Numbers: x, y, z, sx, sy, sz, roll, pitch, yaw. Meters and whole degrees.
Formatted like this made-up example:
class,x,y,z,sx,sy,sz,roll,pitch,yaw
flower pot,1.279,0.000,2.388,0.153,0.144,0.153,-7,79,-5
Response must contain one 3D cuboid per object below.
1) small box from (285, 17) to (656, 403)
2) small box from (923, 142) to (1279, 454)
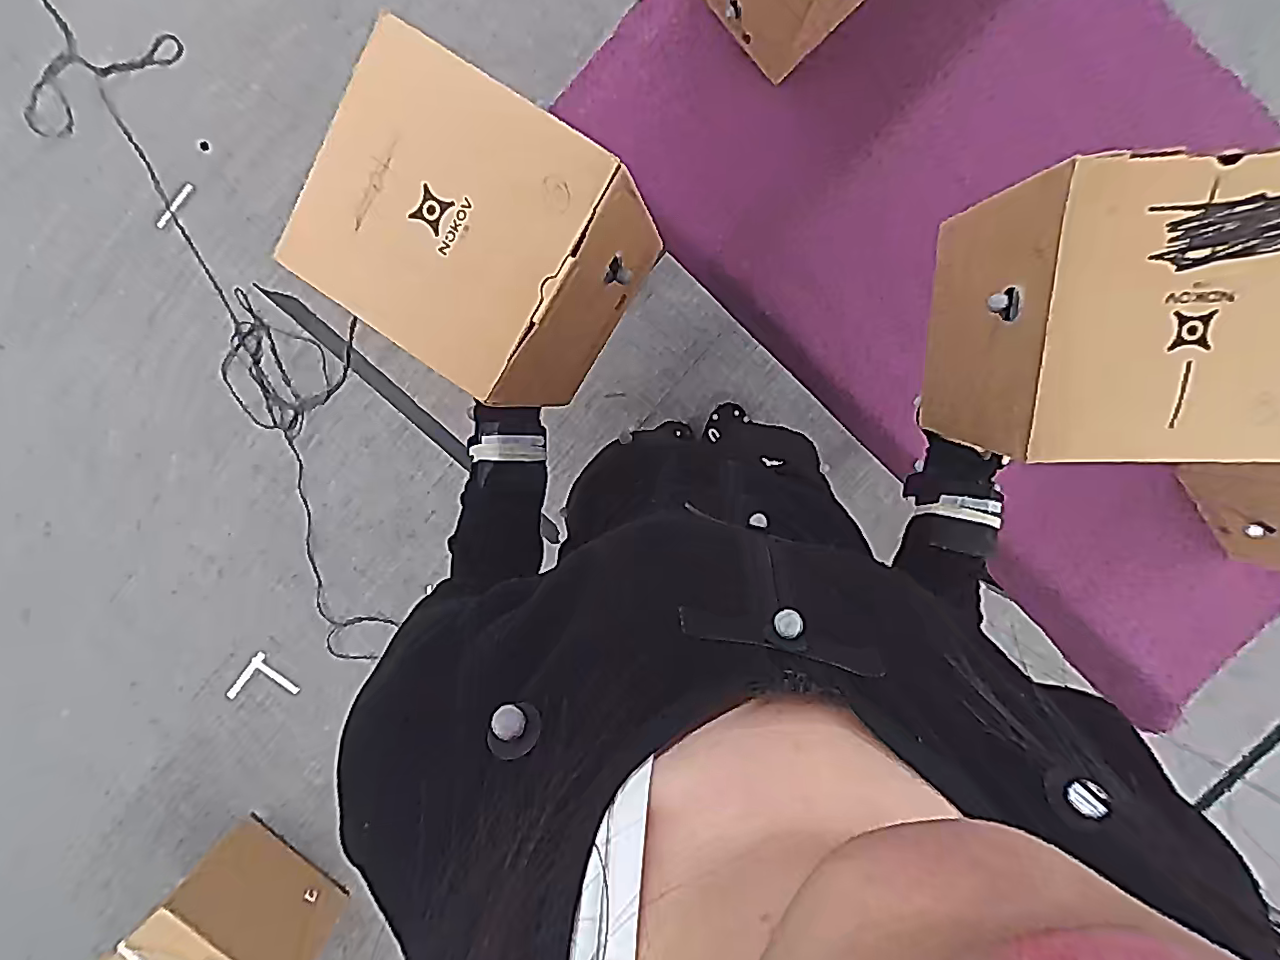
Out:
class,x,y,z,sx,sy,sz,roll,pitch,yaw
small box,-0.105,-0.173,0.409,0.179,0.176,0.168,34,101,5
small box,0.330,-0.119,0.396,0.168,0.176,0.179,0,104,5
